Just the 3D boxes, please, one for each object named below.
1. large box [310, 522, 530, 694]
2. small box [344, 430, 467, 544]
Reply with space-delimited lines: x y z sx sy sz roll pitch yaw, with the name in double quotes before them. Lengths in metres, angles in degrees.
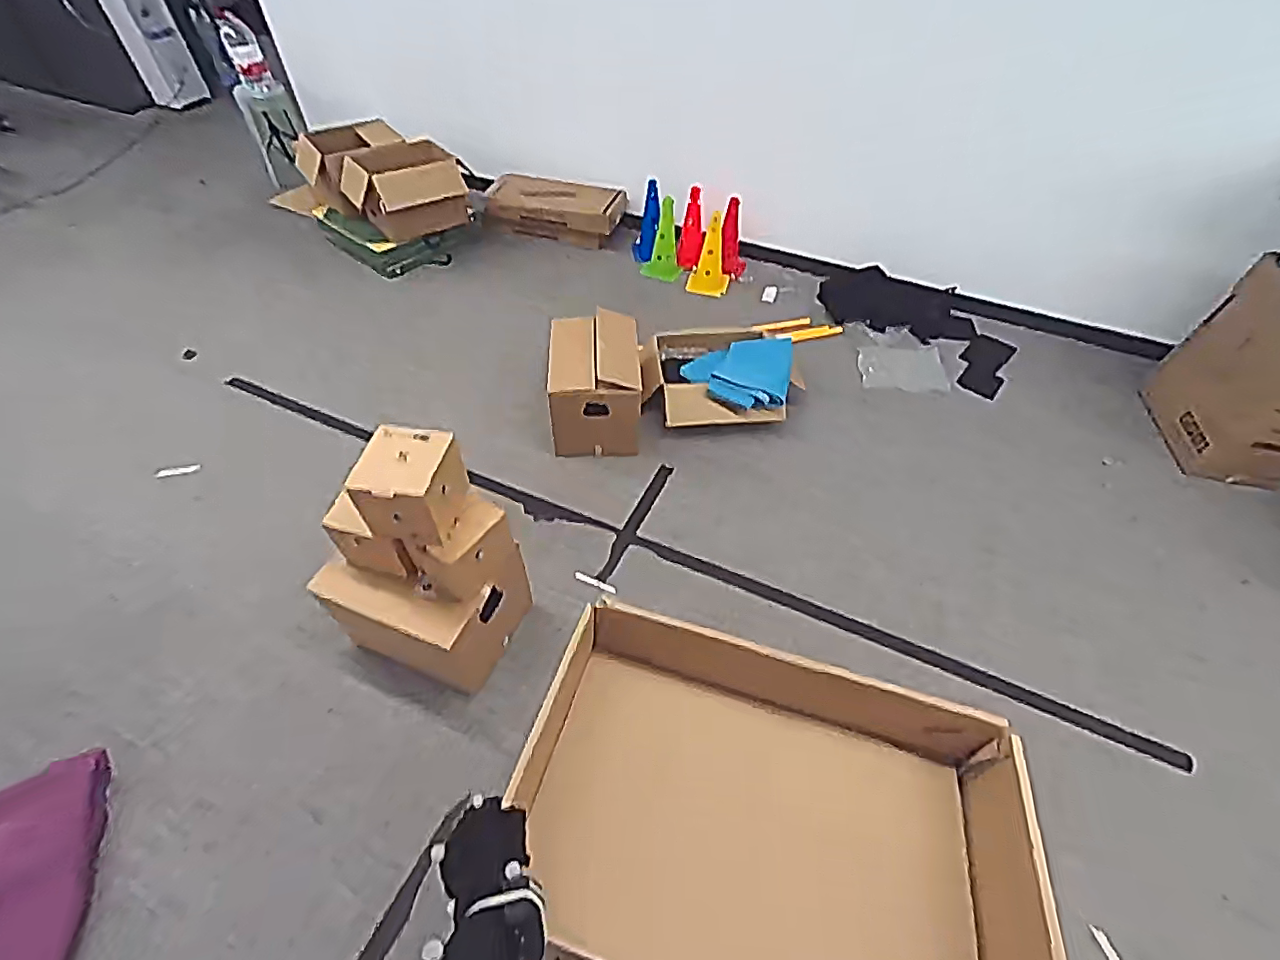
"large box" -0.553 0.314 1.444 0.408 0.320 0.320 17 52 11
"small box" -0.490 0.018 1.165 0.168 0.176 0.179 7 51 3
